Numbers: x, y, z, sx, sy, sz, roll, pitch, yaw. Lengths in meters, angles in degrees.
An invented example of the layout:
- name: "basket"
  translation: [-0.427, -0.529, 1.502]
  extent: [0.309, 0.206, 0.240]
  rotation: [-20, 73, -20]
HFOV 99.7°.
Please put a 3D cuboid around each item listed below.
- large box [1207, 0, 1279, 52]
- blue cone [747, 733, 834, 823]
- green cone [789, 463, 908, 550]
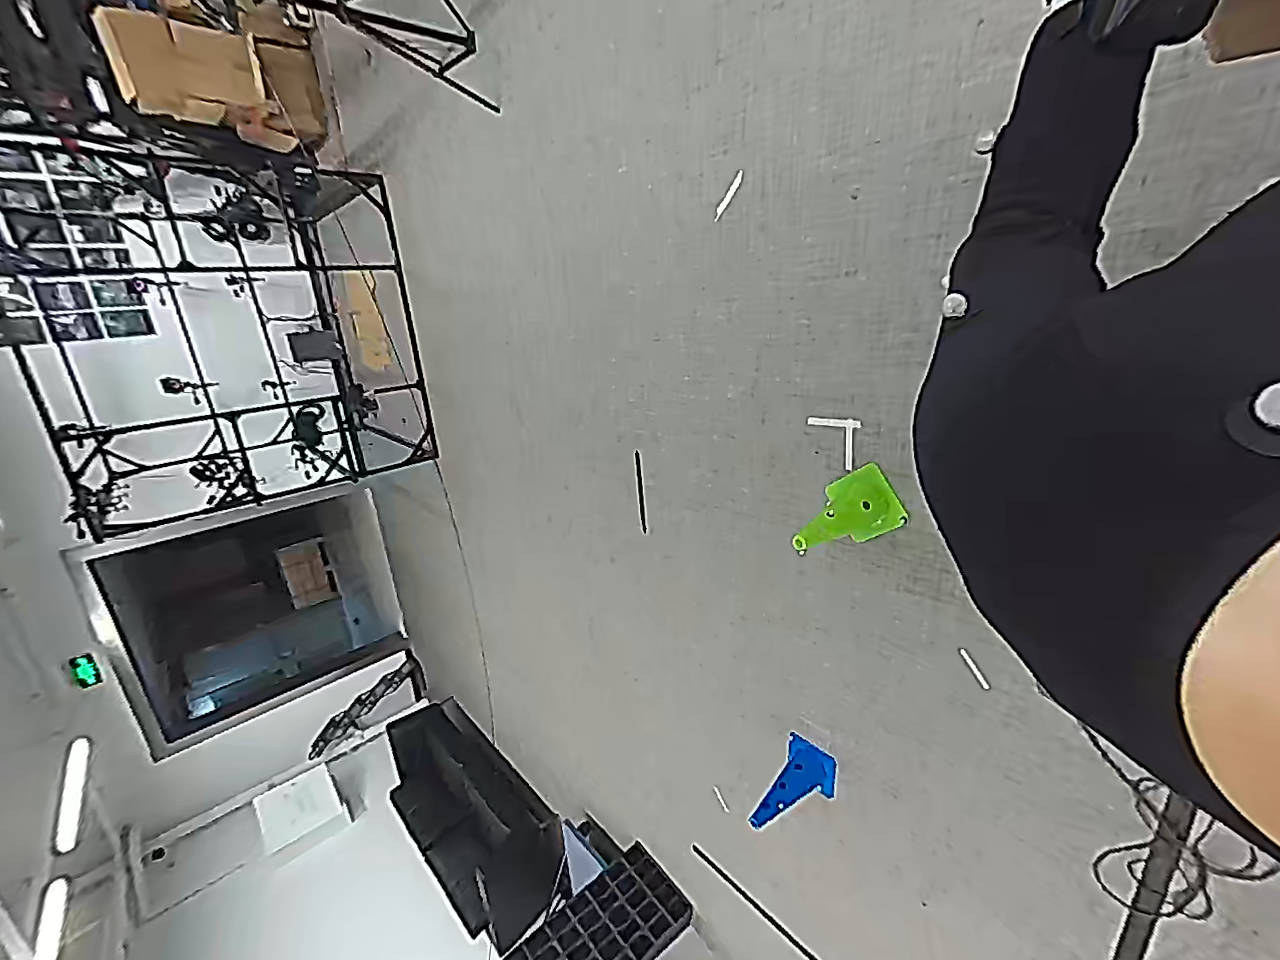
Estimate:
- name: "large box"
  translation: [0.555, -0.451, 0.223]
  extent: [0.408, 0.320, 0.320]
  rotation: [17, 121, 43]
- name: "blue cone"
  translation: [0.538, 1.138, 1.996]
  extent: [0.192, 0.380, 0.193]
  rotation: [21, 121, 46]
- name: "green cone"
  translation: [0.545, 0.112, 1.519]
  extent: [0.202, 0.368, 0.200]
  rotation: [-42, 71, 52]
